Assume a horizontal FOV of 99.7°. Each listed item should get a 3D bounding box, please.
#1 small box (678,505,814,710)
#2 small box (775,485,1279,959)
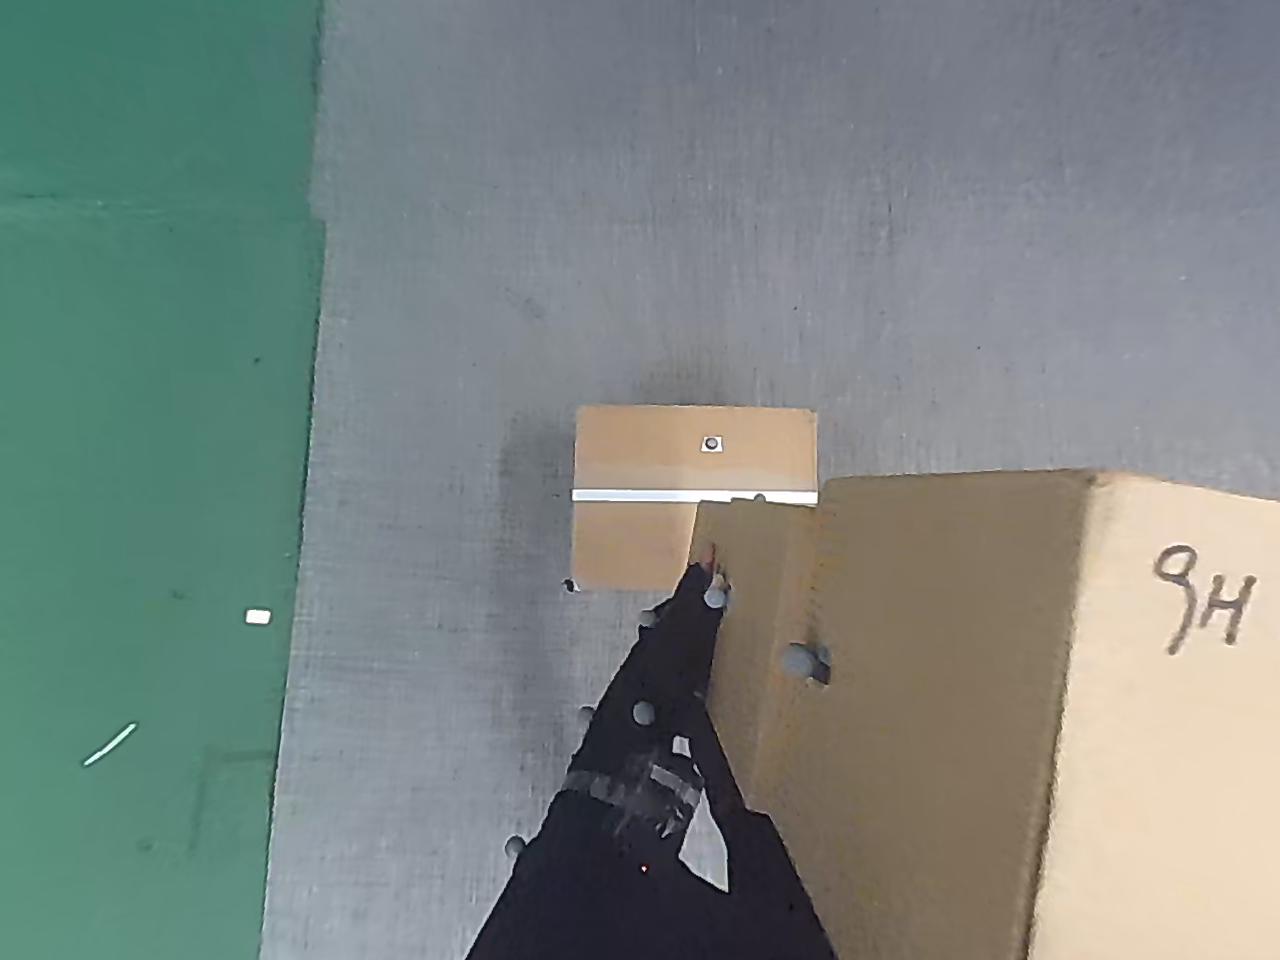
[{"bbox_3d":[0.141,0.120,0.542,0.179,0.176,0.168,10,89,-4],"label":"small box"},{"bbox_3d":[0.164,0.101,0.215,0.168,0.176,0.179,10,89,-2],"label":"small box"}]
